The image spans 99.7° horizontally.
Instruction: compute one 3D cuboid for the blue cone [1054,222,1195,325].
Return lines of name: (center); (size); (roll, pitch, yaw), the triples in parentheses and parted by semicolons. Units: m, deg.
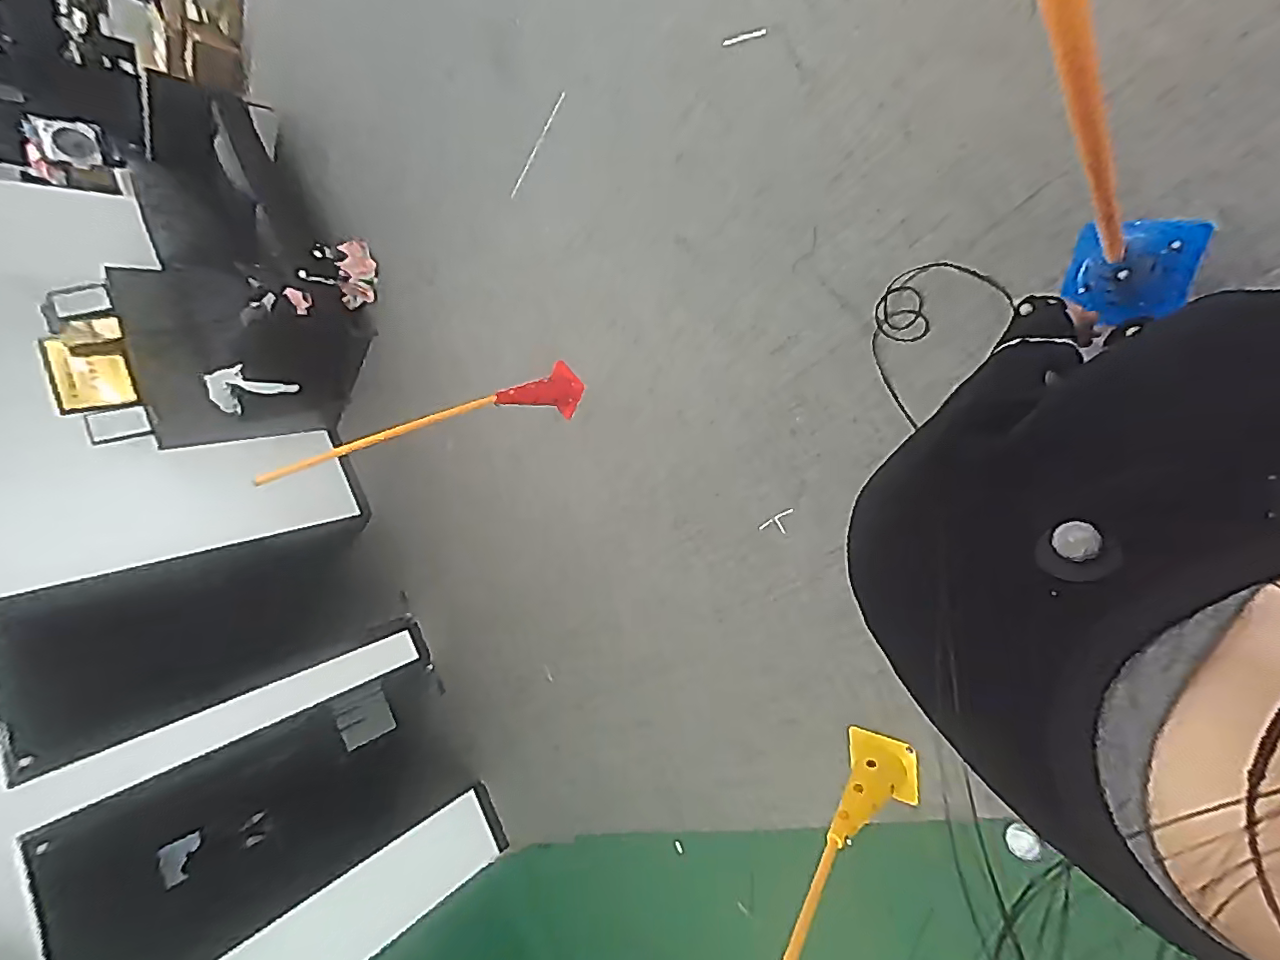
blue cone: (0.854, -0.386, 0.970); (0.192, 0.380, 0.193); (21, 113, 38)
